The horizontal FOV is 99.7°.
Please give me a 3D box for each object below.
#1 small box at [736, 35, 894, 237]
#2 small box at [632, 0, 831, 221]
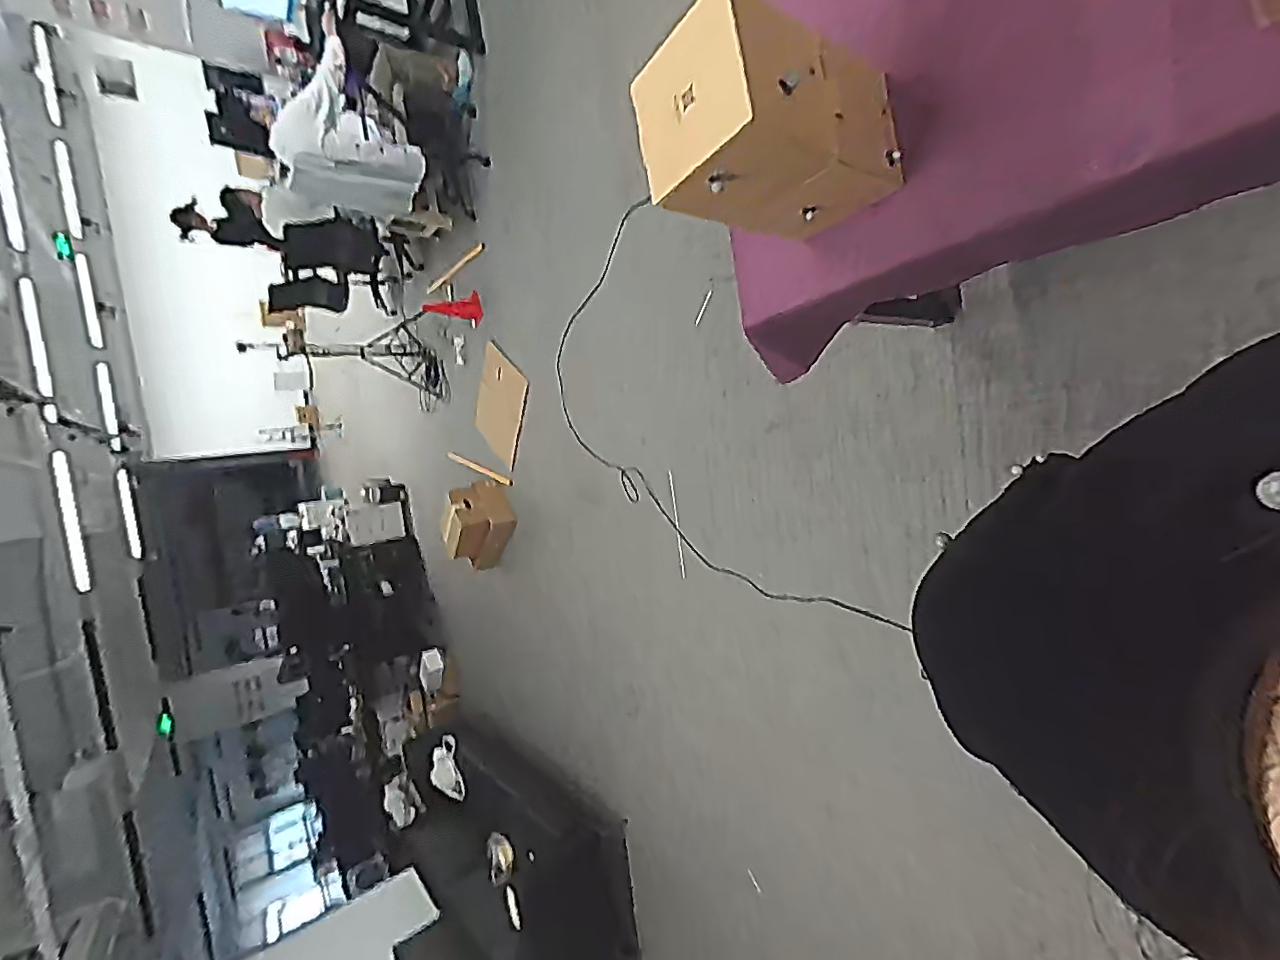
[{"bbox_3d":[0.244,-0.477,0.784,0.179,0.176,0.168,-11,89,54],"label":"small box"},{"bbox_3d":[0.119,-0.456,0.683,0.179,0.176,0.168,-13,87,54],"label":"small box"}]
